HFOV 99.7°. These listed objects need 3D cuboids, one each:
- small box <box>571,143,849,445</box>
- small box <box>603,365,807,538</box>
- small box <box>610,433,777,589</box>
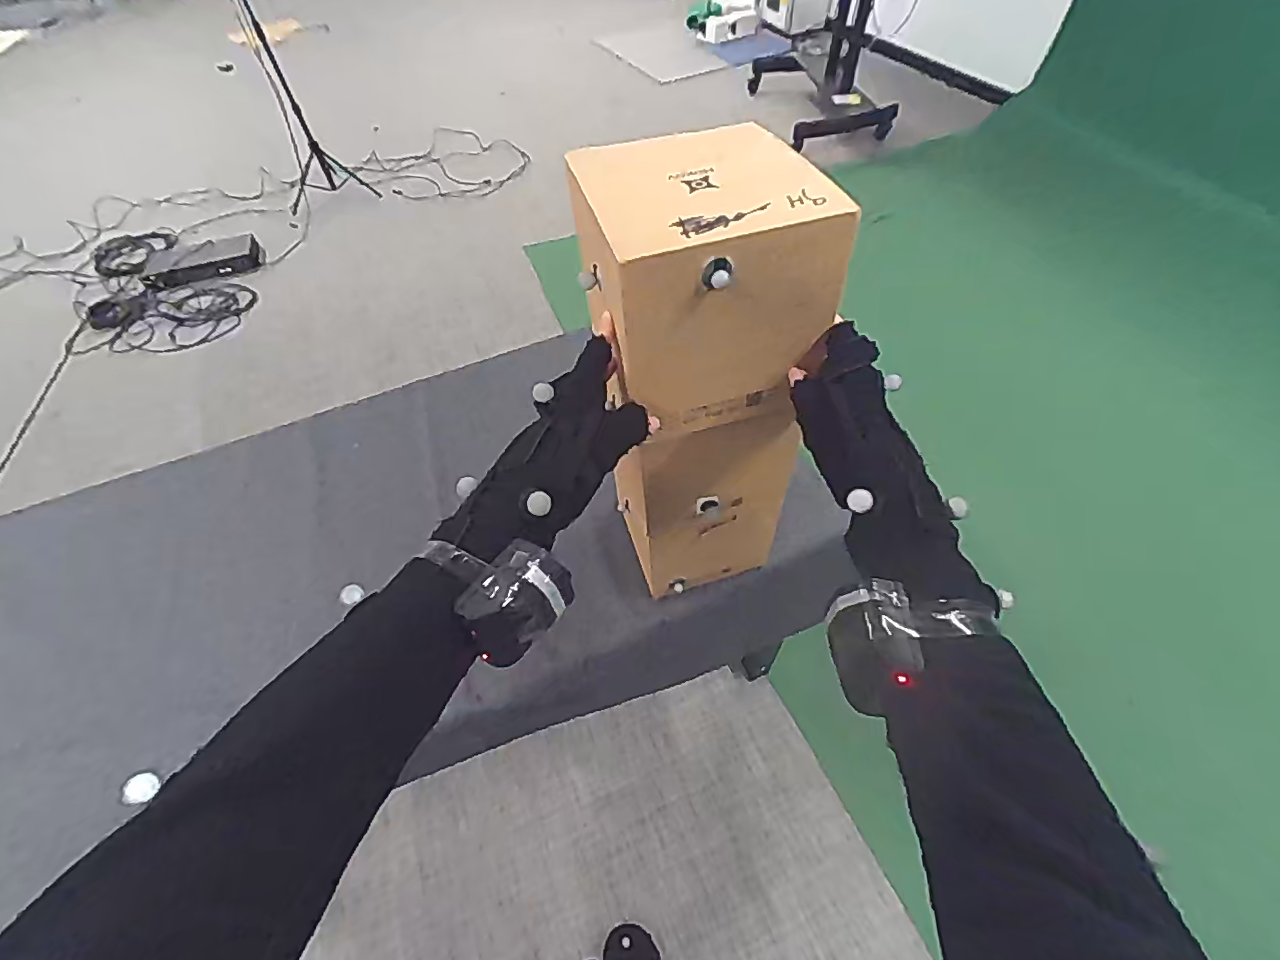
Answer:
[{"bbox_3d":[0.046,-0.159,0.465,0.168,0.176,0.179,-15,51,-7],"label":"small box"},{"bbox_3d":[0.058,-0.064,0.602,0.168,0.176,0.179,-16,55,-7],"label":"small box"},{"bbox_3d":[0.066,0.030,0.734,0.168,0.176,0.179,-15,53,-8],"label":"small box"}]
